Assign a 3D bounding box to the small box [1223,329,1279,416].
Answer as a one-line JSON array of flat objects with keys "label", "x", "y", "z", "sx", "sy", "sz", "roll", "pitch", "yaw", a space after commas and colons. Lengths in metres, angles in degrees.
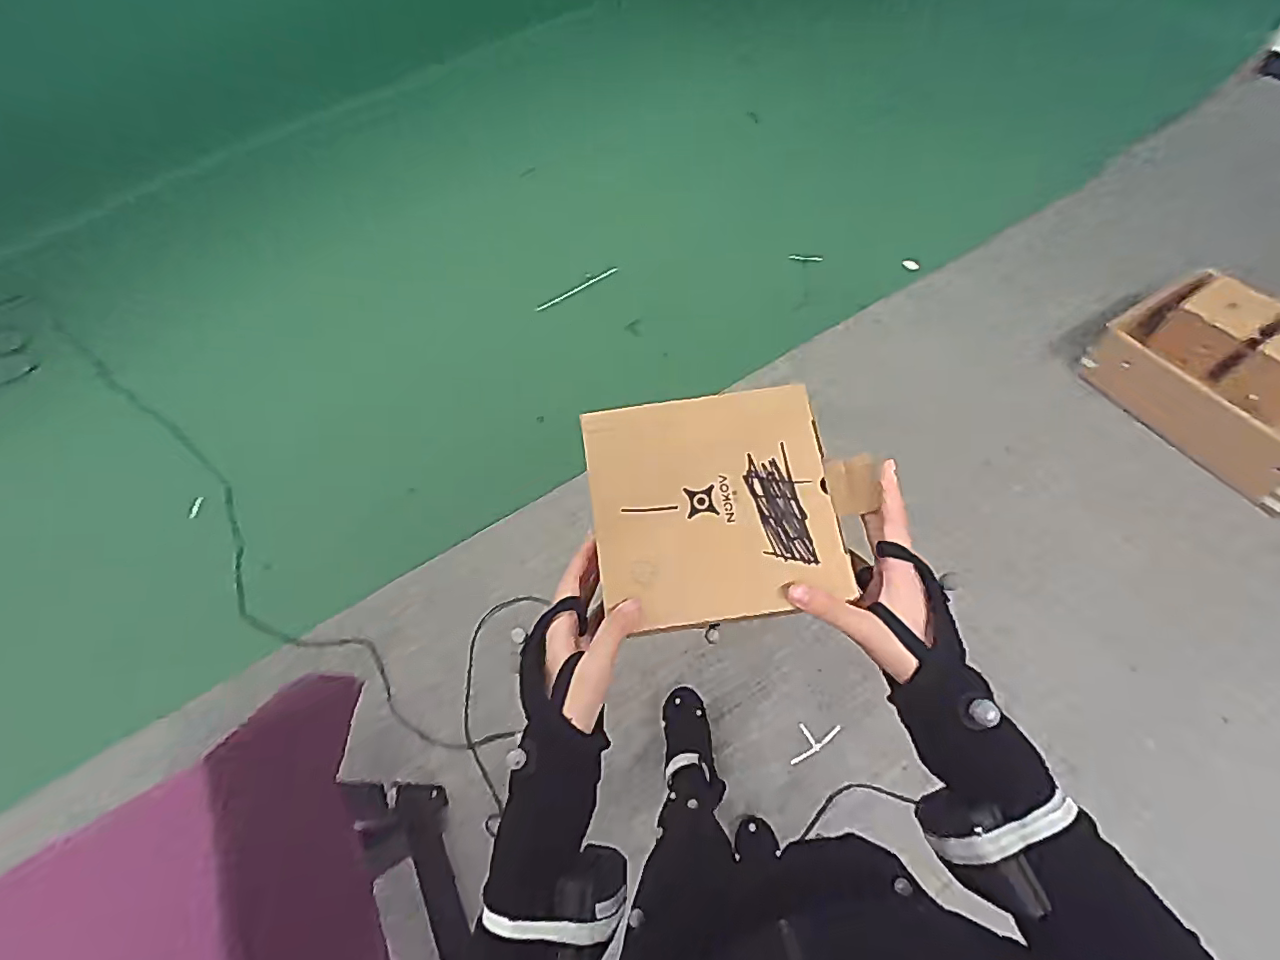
[{"label": "small box", "x": 1.706, "y": -0.302, "z": 1.404, "sx": 0.179, "sy": 0.176, "sz": 0.168, "roll": -30, "pitch": 59, "yaw": -6}]
